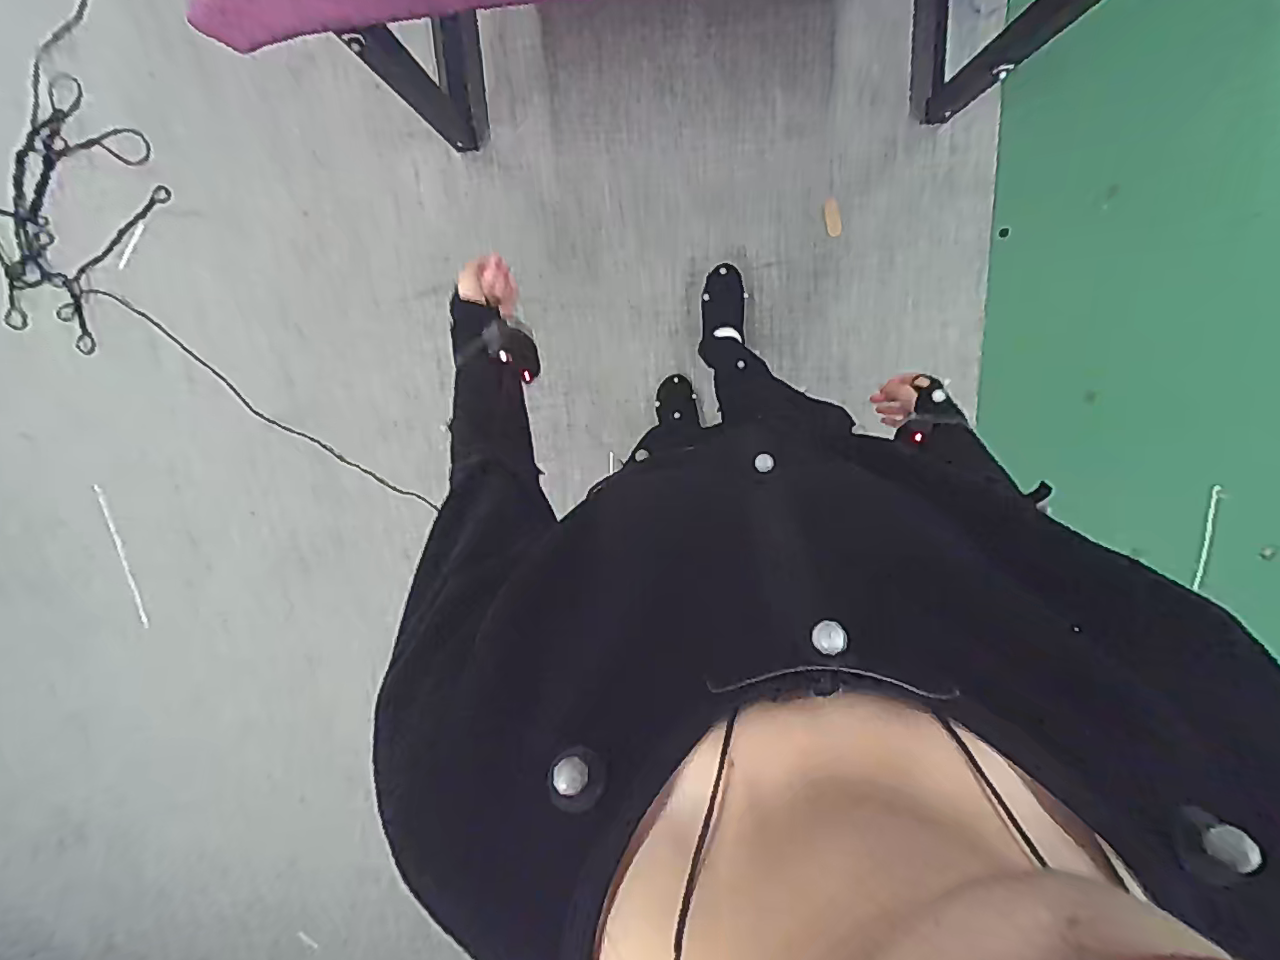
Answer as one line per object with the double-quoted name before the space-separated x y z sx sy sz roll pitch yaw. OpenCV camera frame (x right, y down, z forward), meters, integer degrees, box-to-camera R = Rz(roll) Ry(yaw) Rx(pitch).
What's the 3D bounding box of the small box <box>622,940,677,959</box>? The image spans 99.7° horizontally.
"small box" 0.032 1.550 1.651 0.168 0.176 0.179 -6 103 4
